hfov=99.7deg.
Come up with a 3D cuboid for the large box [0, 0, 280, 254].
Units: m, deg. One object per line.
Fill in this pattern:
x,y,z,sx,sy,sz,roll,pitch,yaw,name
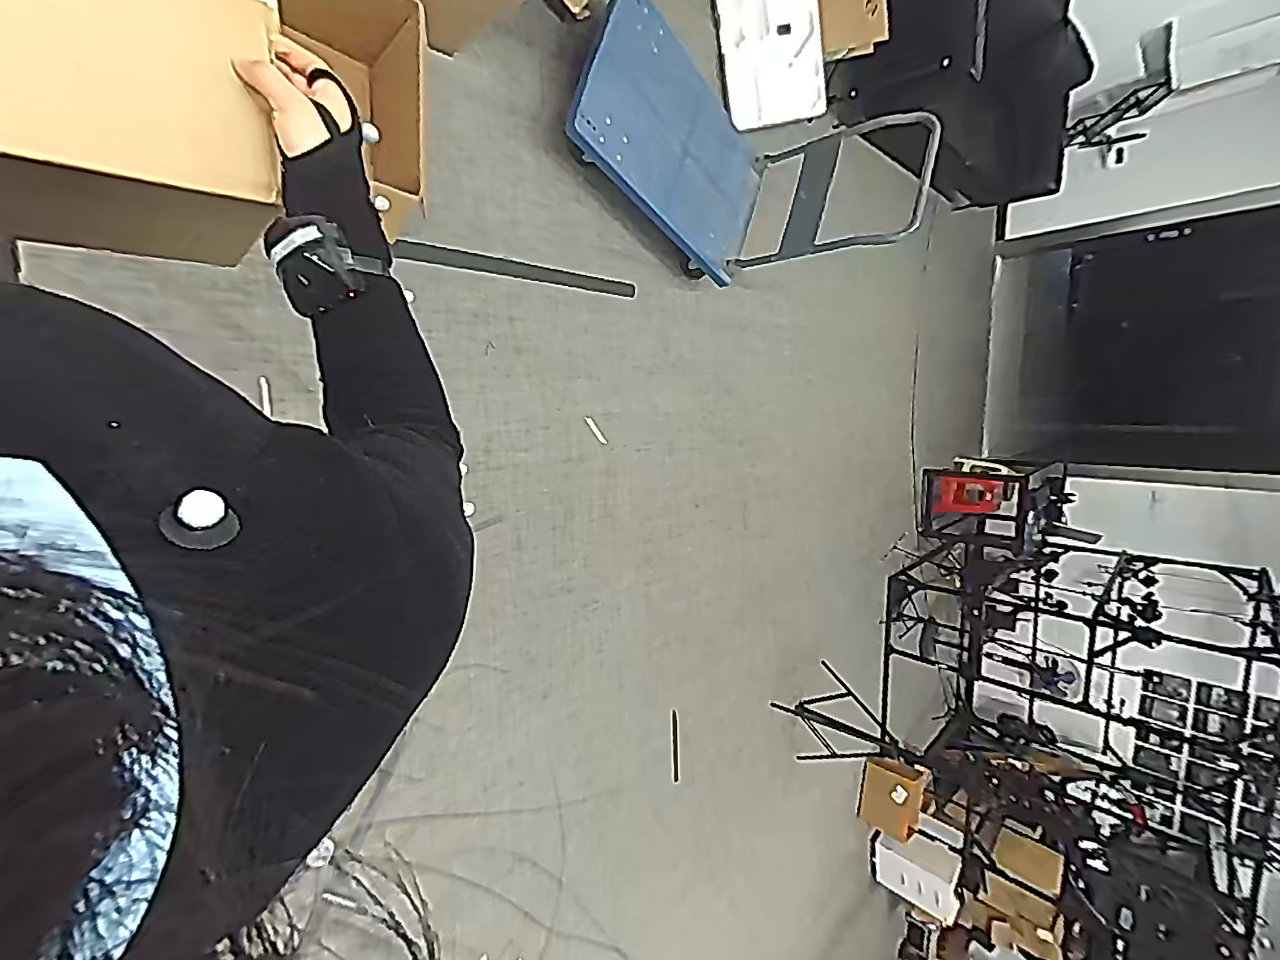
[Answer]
-0.546,-0.380,0.406,0.408,0.320,0.320,-9,102,-41,large box
